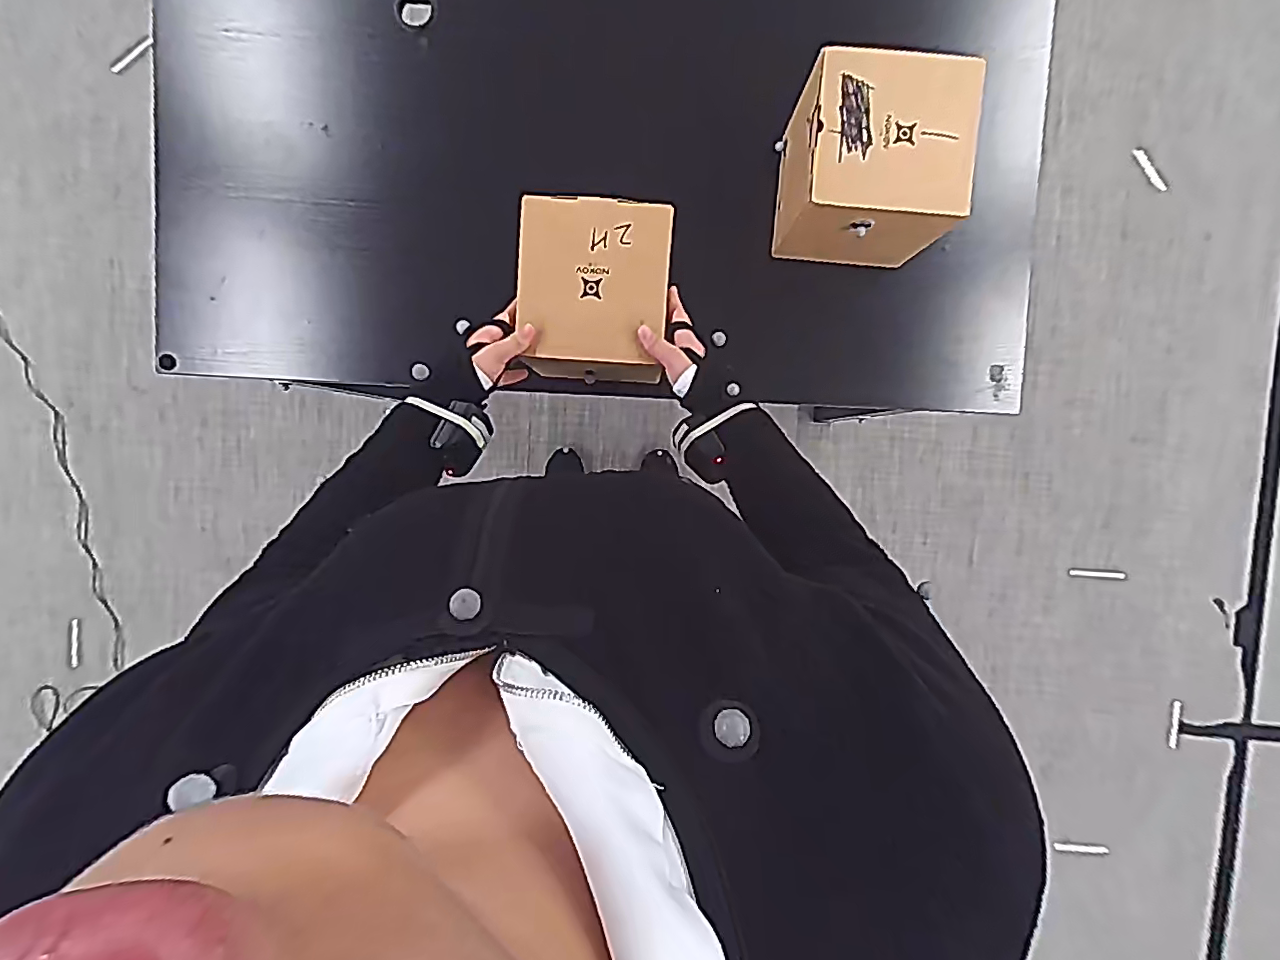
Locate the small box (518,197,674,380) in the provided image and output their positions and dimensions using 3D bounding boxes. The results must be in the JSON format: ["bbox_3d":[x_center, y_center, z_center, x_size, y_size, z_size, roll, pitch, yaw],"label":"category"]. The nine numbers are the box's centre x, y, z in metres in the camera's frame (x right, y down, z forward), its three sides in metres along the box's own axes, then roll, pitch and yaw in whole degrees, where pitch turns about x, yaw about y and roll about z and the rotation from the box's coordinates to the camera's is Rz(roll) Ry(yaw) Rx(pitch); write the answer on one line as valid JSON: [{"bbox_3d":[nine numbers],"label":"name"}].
[{"bbox_3d":[-0.049,-0.224,0.679,0.168,0.176,0.179,4,93,-1],"label":"small box"}]

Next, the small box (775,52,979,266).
[{"bbox_3d":[0.275,-0.378,0.668,0.179,0.176,0.168,5,93,0],"label":"small box"}]
